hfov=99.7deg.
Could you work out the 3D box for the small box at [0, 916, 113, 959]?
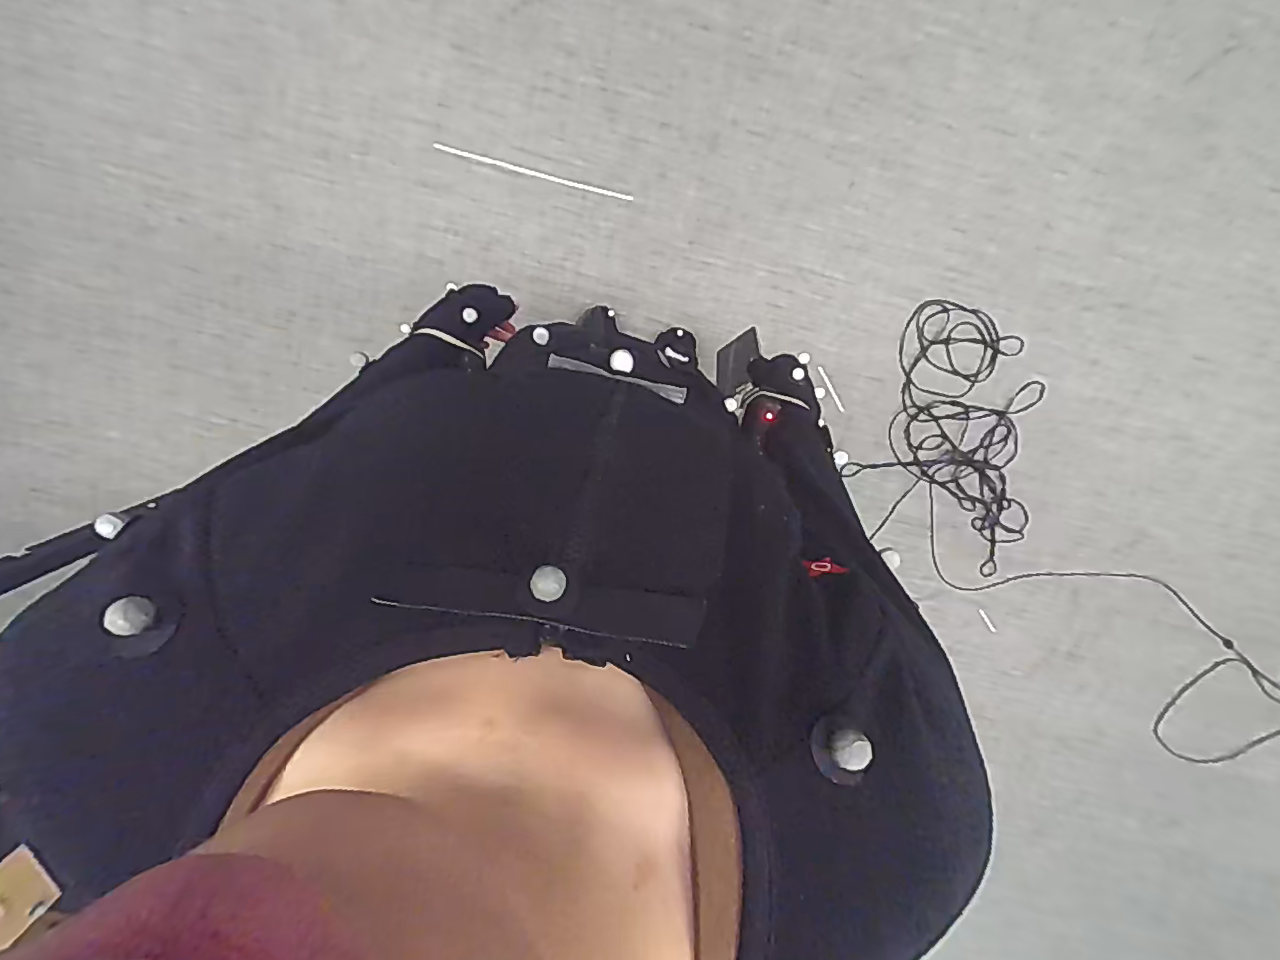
[{"bbox_3d":[-1.111,0.947,0.977,0.168,0.176,0.179,16,107,-5],"label":"small box"}]
